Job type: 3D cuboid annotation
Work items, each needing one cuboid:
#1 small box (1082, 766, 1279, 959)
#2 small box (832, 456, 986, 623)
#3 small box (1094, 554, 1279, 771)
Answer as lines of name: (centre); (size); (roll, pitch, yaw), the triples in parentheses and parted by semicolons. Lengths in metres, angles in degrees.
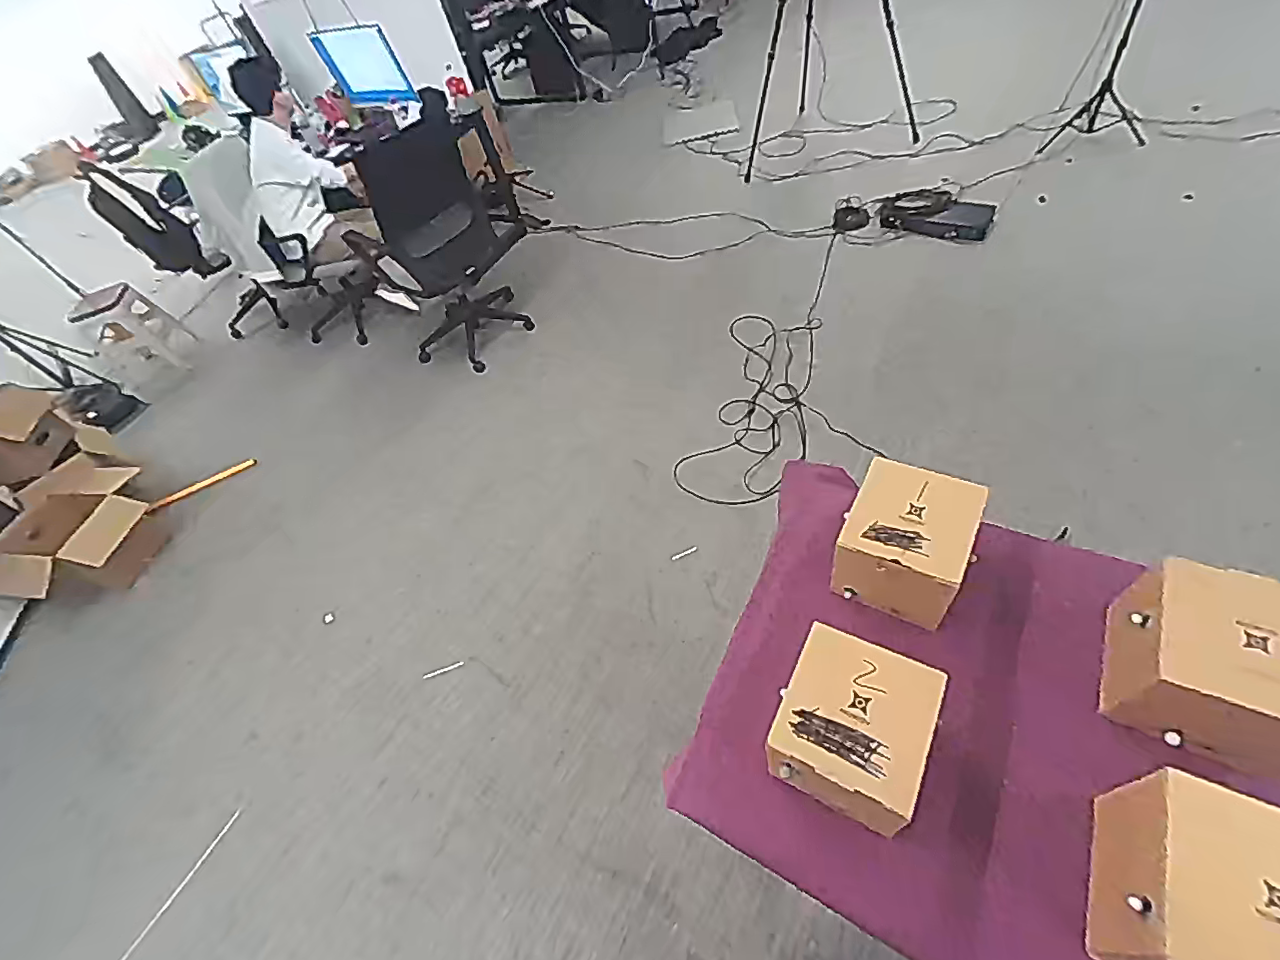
small box: (0.585, 0.430, 0.548); (0.168, 0.176, 0.179); (17, 59, 26)
small box: (0.412, 0.097, 0.851); (0.168, 0.176, 0.179); (21, 62, 27)
small box: (0.707, 0.228, 0.675); (0.168, 0.176, 0.179); (18, 60, 27)
